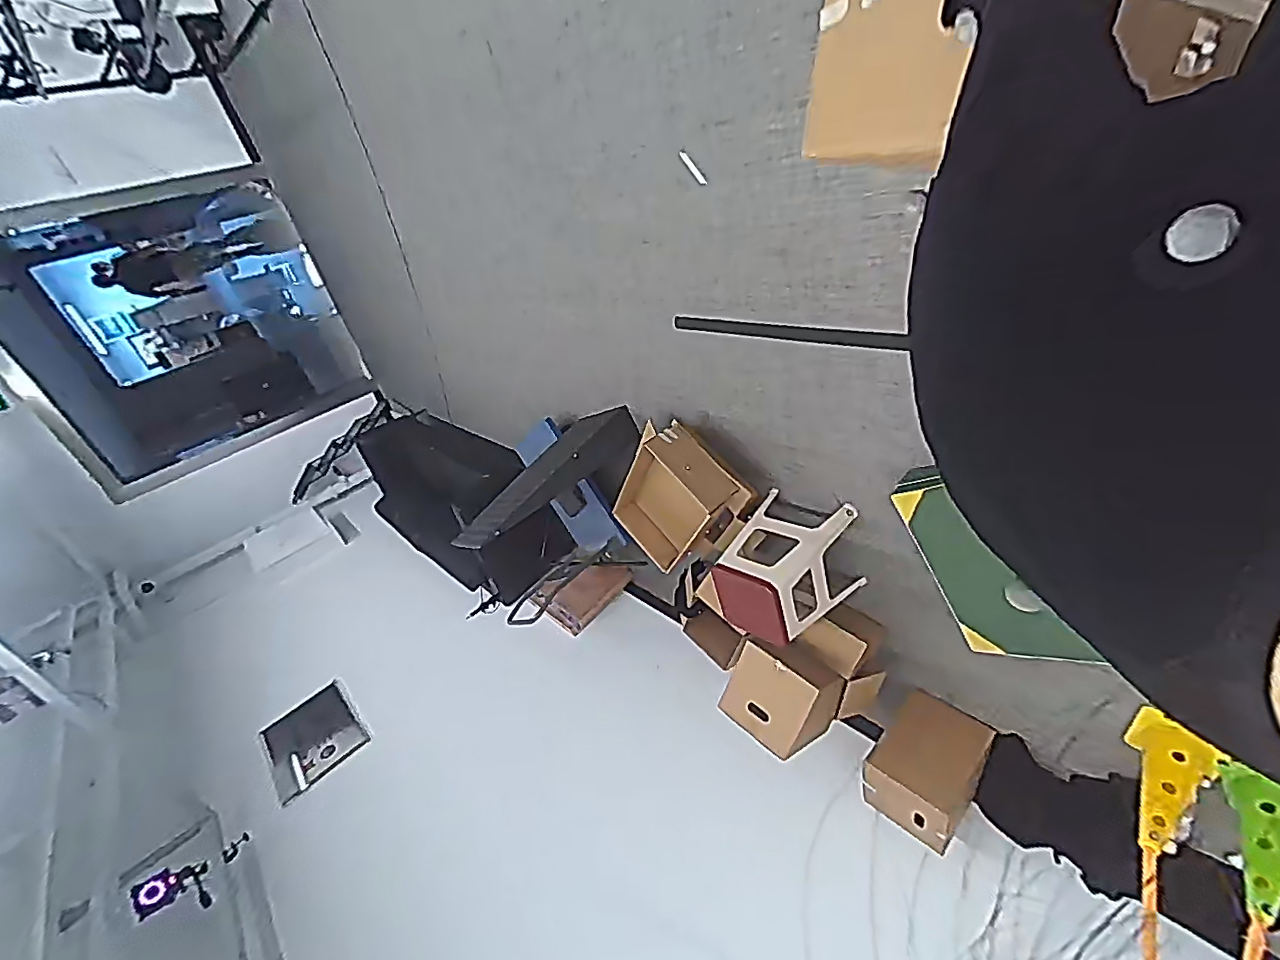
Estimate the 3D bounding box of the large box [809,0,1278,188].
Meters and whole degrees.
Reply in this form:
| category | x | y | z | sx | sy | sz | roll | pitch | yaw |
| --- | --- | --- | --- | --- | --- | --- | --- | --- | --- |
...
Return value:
| category | x | y | z | sx | sy | sz | roll | pitch | yaw |
| --- | --- | --- | --- | --- | --- | --- | --- | --- | --- |
| large box | 0.487 | -0.554 | 0.681 | 0.320 | 0.408 | 0.320 | 45 | 138 | 51 |
